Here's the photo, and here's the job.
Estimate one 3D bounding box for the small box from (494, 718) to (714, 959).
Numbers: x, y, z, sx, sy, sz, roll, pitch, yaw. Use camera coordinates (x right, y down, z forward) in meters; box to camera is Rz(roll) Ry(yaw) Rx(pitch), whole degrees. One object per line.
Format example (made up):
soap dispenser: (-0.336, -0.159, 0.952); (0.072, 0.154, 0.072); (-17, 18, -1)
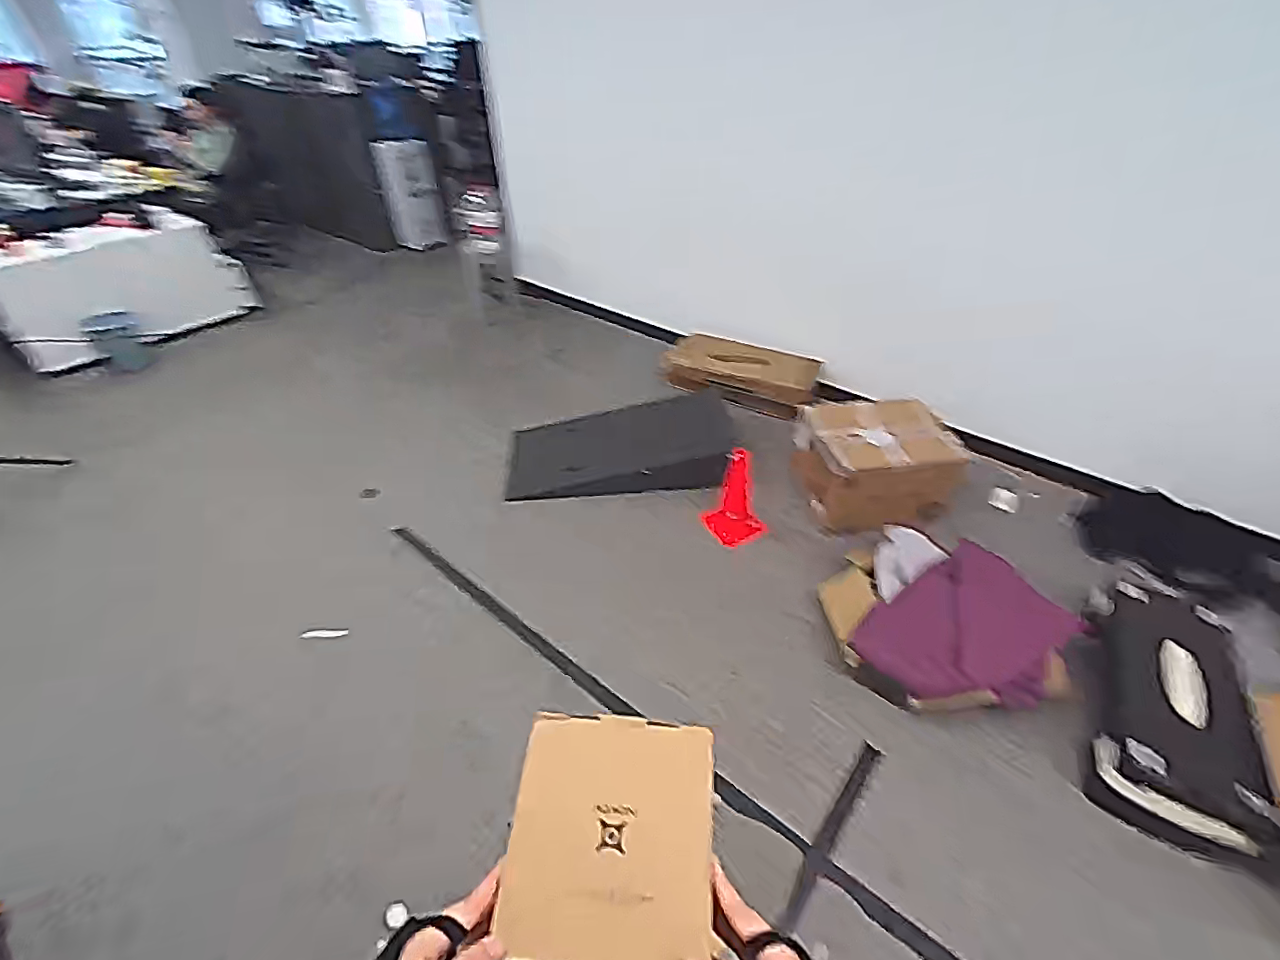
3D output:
small box: (-0.021, 0.345, 0.508); (0.168, 0.176, 0.179); (2, 50, 3)
